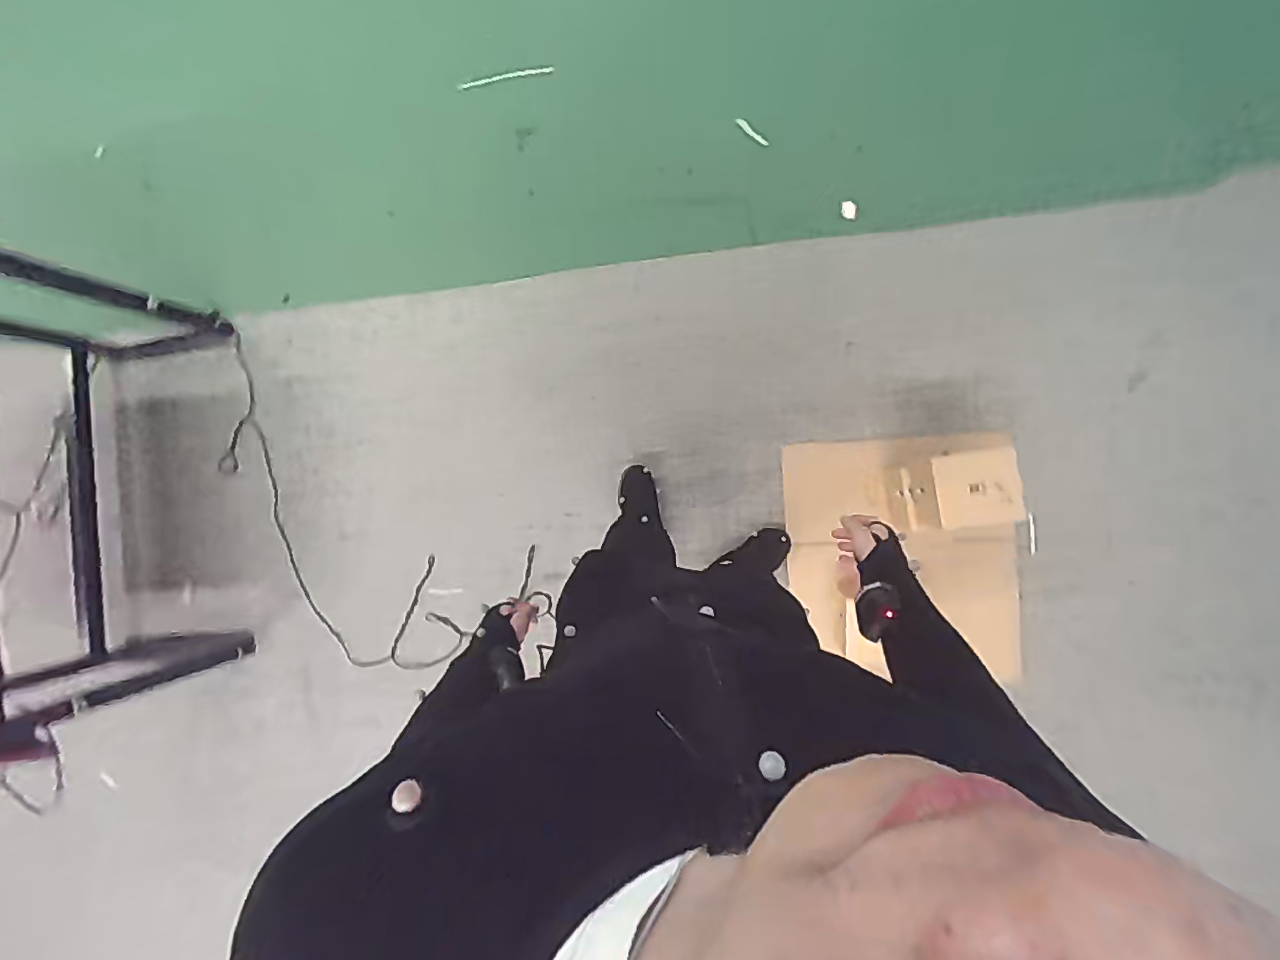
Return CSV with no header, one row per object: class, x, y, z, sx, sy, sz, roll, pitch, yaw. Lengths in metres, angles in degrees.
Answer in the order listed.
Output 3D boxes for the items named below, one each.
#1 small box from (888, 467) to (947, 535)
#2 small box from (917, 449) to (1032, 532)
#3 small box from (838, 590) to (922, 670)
small box,0.776,0.044,1.418,0.179,0.176,0.168,-9,89,10
small box,0.760,0.024,1.253,0.179,0.176,0.168,-8,90,9
small box,0.631,0.393,1.441,0.179,0.176,0.168,1,90,9
